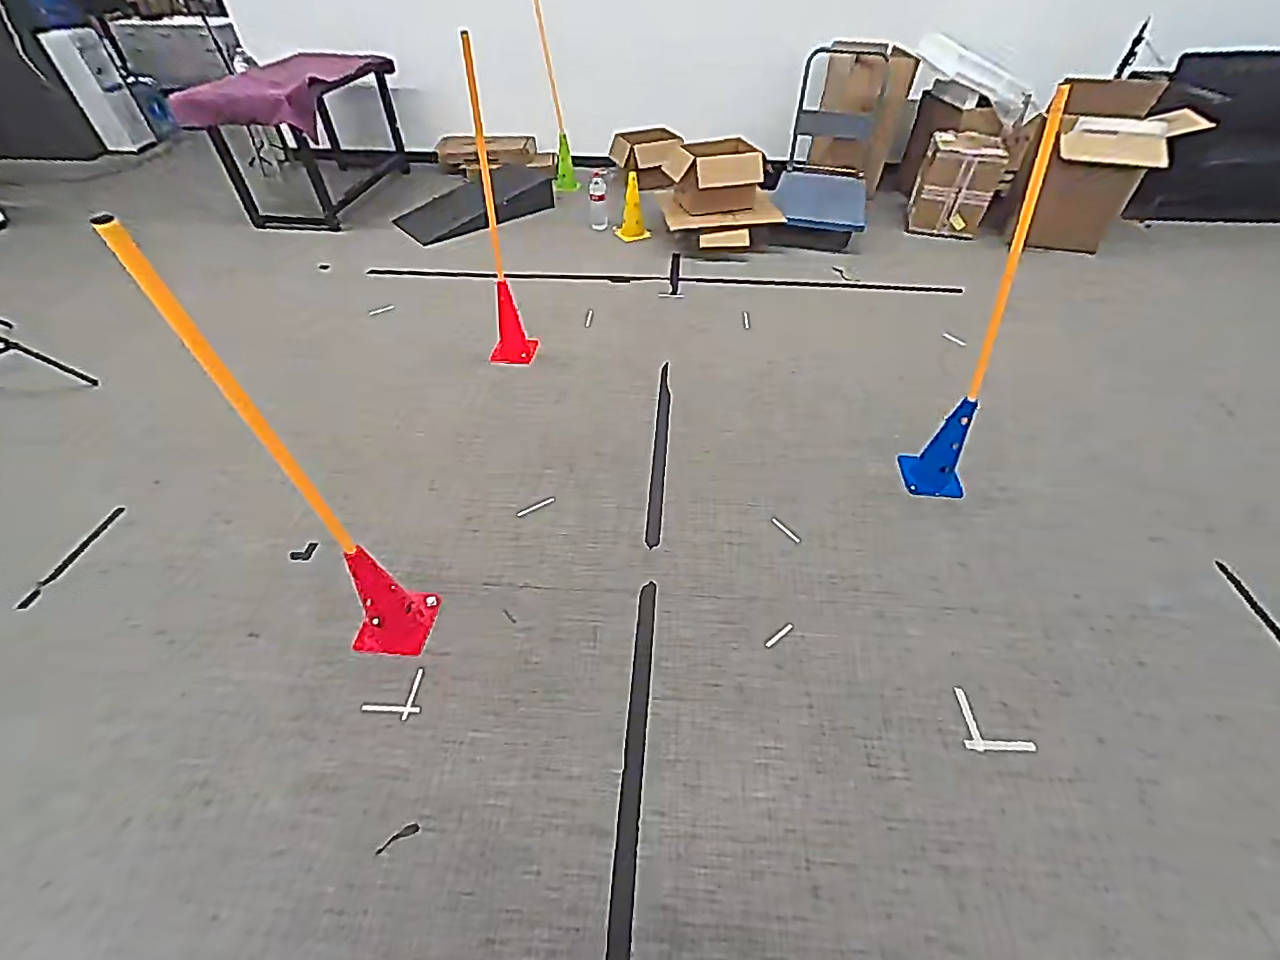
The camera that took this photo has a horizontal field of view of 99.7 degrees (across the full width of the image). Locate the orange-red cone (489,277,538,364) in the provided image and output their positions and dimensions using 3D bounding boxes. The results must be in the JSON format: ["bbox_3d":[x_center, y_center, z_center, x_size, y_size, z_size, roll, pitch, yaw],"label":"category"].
[{"bbox_3d":[-0.592,-0.727,2.411,0.198,0.360,0.199,6,46,5],"label":"orange-red cone"}]

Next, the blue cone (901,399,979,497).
[{"bbox_3d":[1.071,-0.129,1.874,0.193,0.380,0.192,5,47,5],"label":"blue cone"}]
